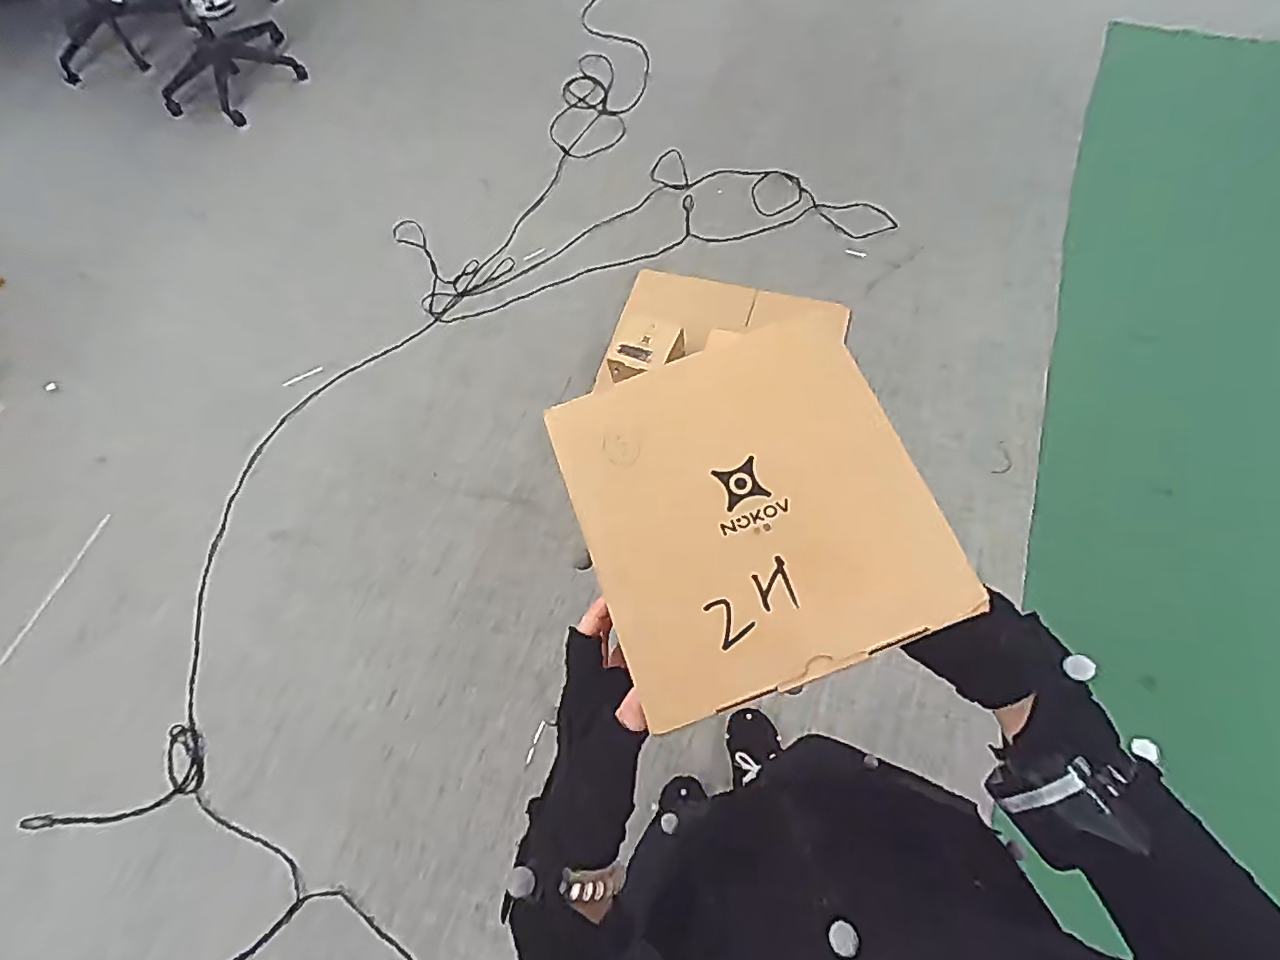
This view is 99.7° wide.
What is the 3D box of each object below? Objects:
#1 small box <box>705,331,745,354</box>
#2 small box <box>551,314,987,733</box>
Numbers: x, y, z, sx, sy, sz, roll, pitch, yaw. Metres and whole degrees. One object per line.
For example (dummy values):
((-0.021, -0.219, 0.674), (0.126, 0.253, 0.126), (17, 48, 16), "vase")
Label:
((0.261, -0.292, 1.539), (0.168, 0.176, 0.179), (14, 70, 11), "small box")
((0.061, 0.035, 0.346), (0.168, 0.176, 0.179), (-21, 73, 0), "small box")
